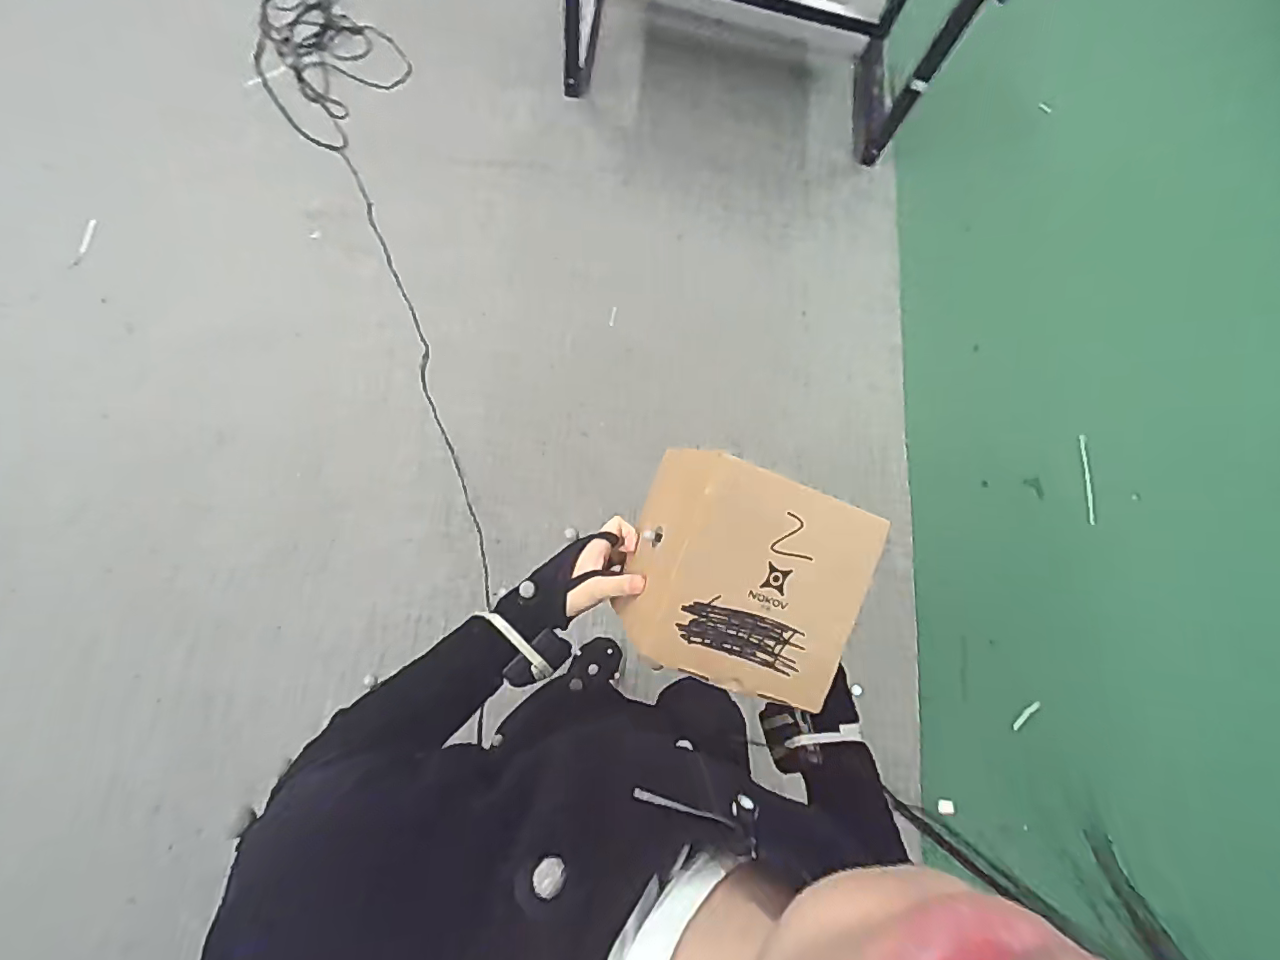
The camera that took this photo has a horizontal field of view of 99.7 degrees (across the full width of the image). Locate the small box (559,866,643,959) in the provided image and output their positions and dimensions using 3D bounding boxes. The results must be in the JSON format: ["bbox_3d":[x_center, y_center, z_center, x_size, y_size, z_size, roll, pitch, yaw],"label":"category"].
[{"bbox_3d":[-0.093,1.030,1.247,0.168,0.176,0.179,8,74,-7],"label":"small box"}]
